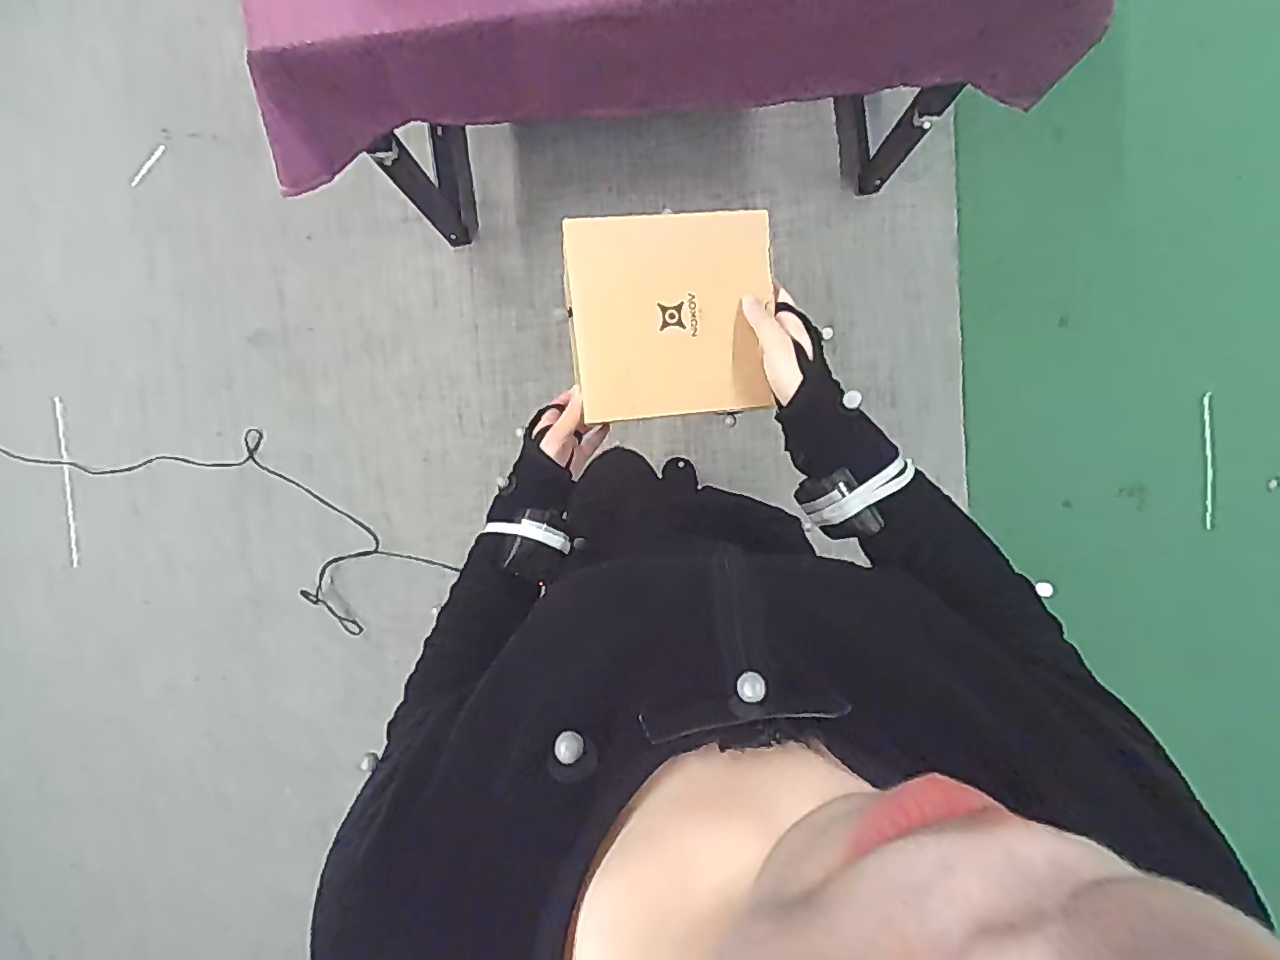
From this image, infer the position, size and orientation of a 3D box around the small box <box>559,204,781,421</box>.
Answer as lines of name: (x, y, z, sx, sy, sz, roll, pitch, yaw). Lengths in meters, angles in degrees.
small box: (0.018, -0.148, 0.527, 0.179, 0.176, 0.168, -7, 97, -8)
